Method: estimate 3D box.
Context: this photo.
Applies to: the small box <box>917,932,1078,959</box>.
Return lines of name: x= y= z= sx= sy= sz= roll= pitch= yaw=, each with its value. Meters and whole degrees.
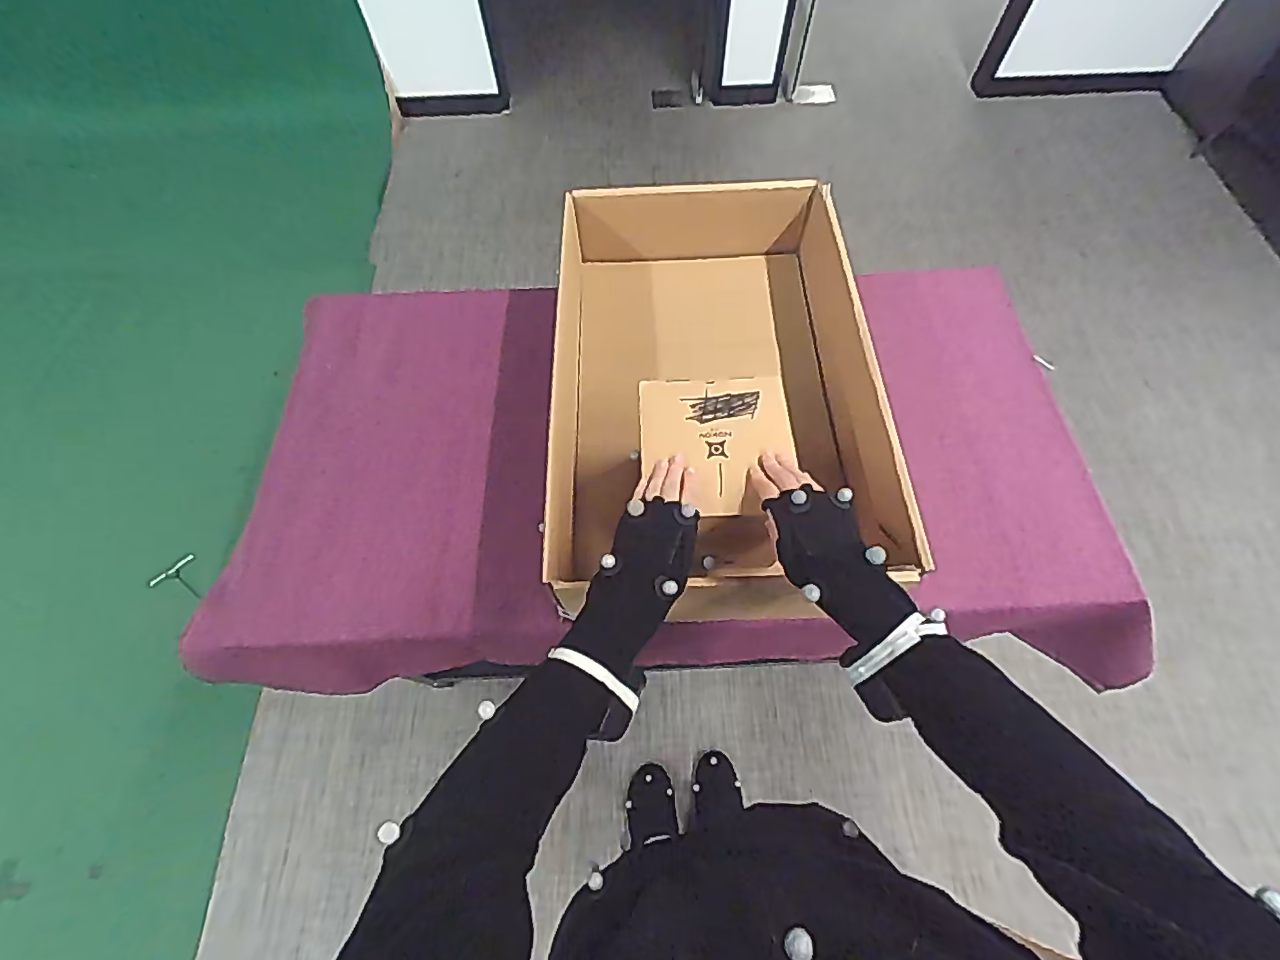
small box: x=0.523 y=0.770 z=0.768 sx=0.168 sy=0.176 sz=0.179 roll=-1 pitch=62 yaw=1

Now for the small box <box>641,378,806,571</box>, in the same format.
small box: x=0.085 y=-0.001 z=0.653 sx=0.168 sy=0.176 sz=0.179 roll=-3 pitch=63 yaw=0
